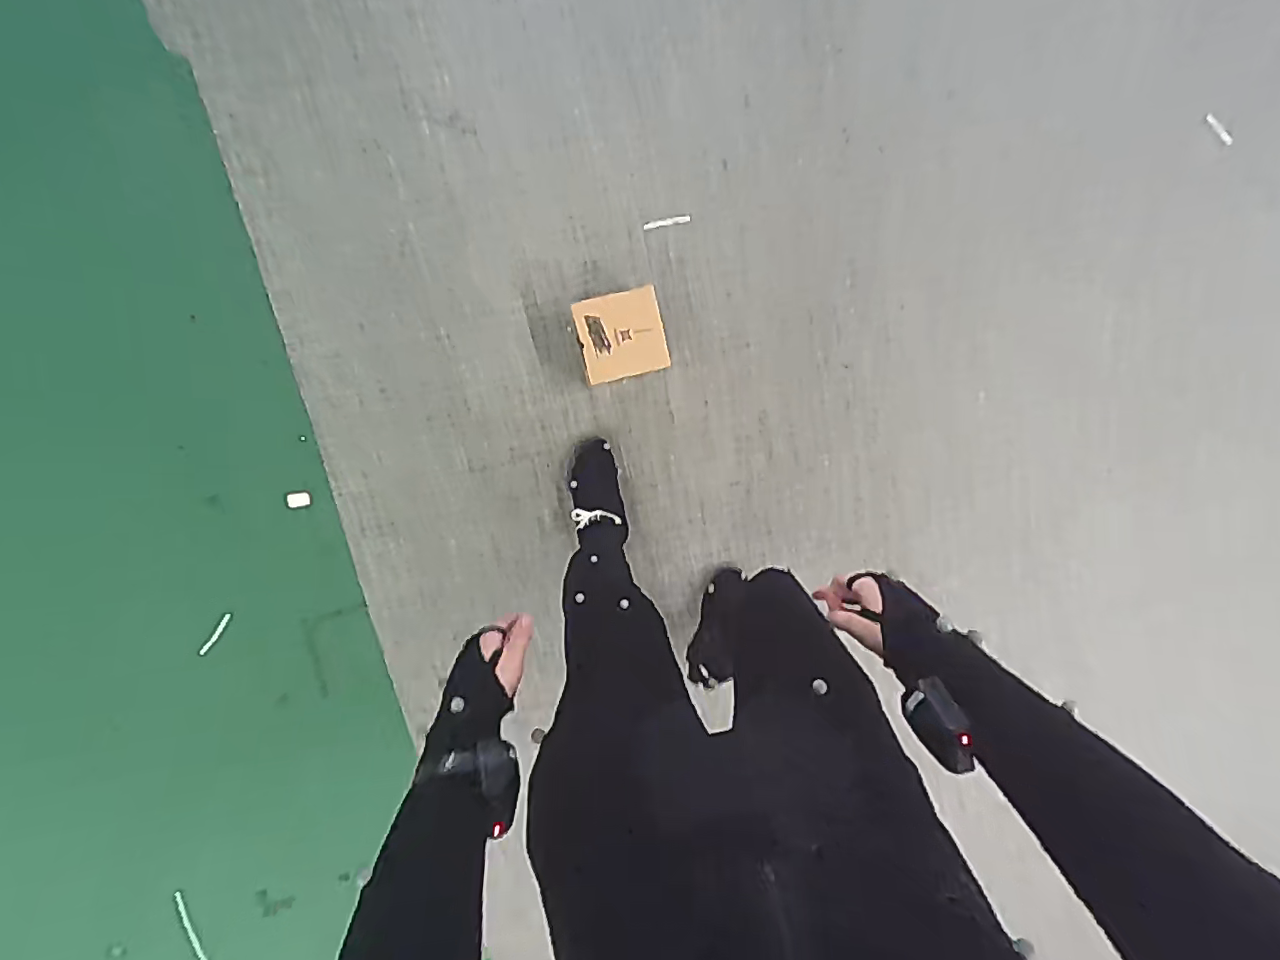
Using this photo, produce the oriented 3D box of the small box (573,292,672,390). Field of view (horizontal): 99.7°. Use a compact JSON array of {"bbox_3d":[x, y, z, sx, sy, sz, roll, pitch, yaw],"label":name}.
[{"bbox_3d":[-0.042,-0.295,1.180,0.179,0.176,0.168,-15,100,-6],"label":"small box"}]
